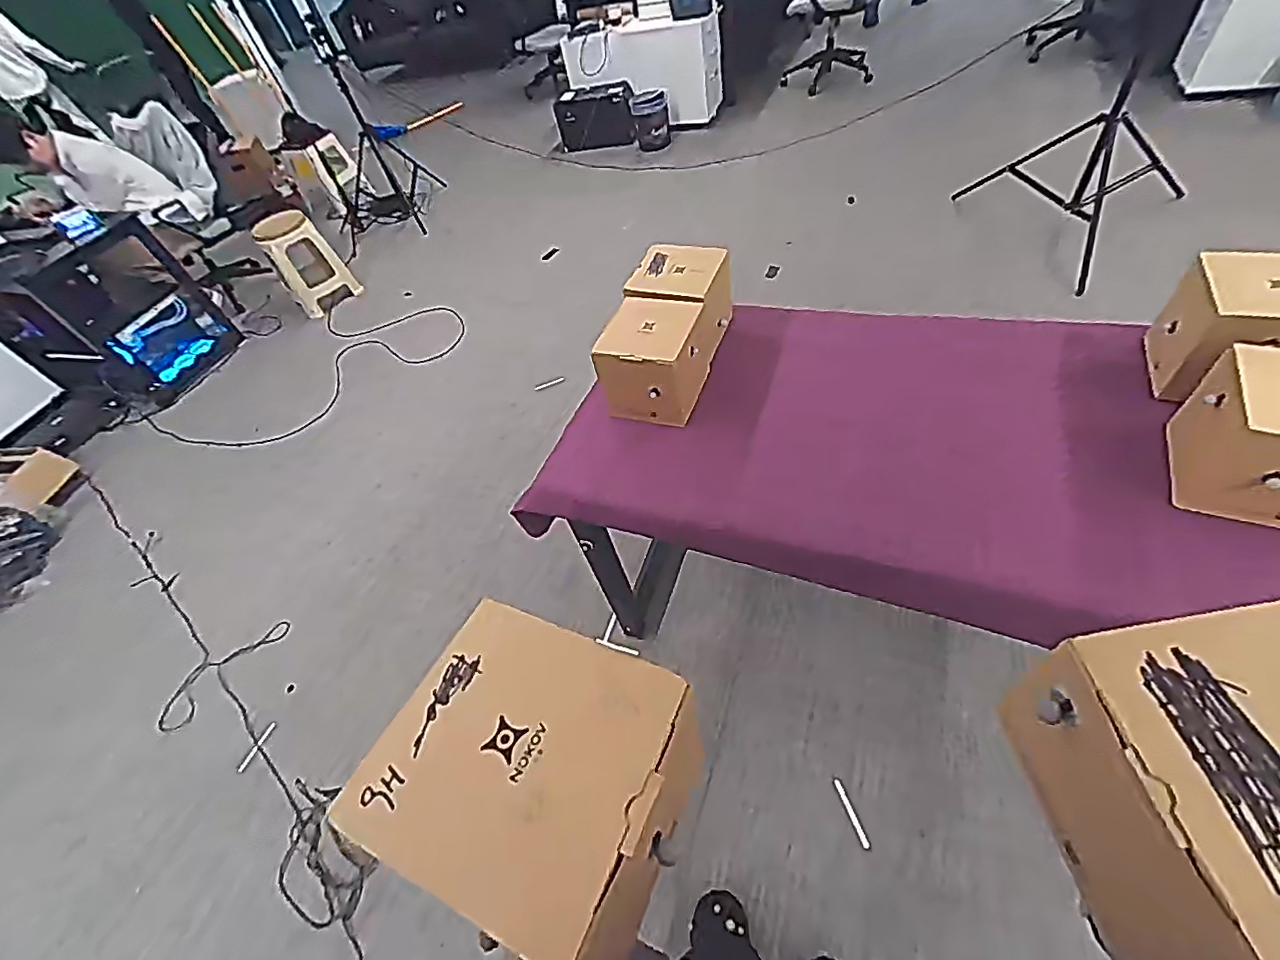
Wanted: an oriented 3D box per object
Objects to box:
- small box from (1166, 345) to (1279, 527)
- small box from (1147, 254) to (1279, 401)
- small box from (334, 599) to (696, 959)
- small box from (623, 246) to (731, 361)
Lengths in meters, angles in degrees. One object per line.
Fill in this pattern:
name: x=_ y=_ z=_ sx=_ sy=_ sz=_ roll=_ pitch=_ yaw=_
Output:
small box: x=0.860 y=-0.054 z=0.730 sx=0.168 sy=0.176 sz=0.179 roll=15 pitch=56 yaw=24
small box: x=0.939 y=-0.229 z=0.844 sx=0.179 sy=0.176 sz=0.168 roll=12 pitch=57 yaw=21
small box: x=-0.066 y=0.222 z=0.398 sx=0.179 sy=0.176 sz=0.168 roll=16 pitch=51 yaw=21
small box: x=0.087 y=-0.377 z=1.164 sx=0.179 sy=0.176 sz=0.168 roll=14 pitch=58 yaw=21
